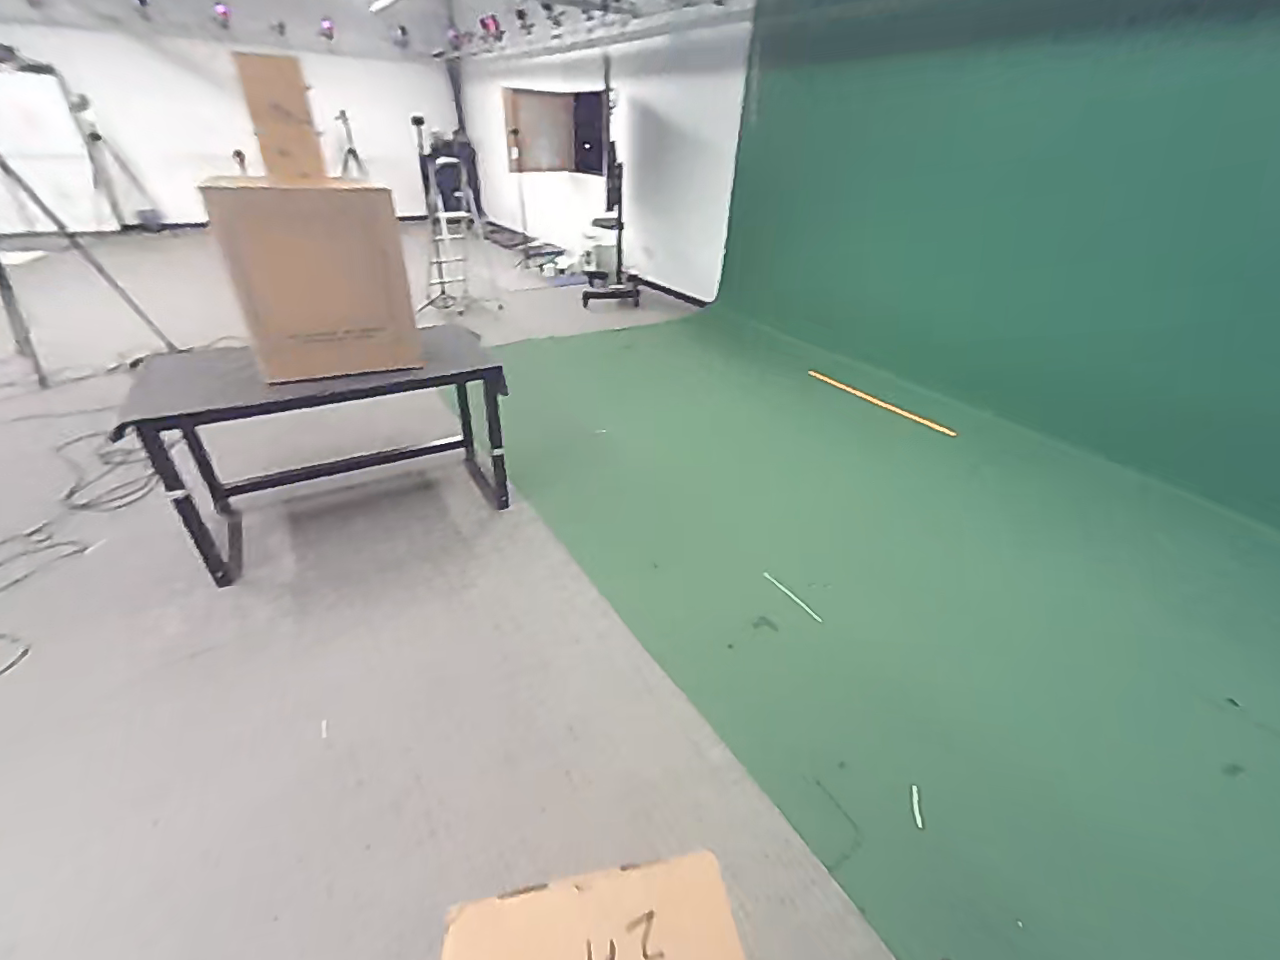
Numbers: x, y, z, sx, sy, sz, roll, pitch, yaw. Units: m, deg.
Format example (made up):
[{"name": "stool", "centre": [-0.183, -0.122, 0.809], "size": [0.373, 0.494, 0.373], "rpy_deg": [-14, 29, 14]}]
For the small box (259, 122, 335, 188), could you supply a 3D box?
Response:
[{"name": "small box", "centre": [-1.085, -1.034, 1.724], "size": [0.168, 0.176, 0.179], "rpy_deg": [-11, 37, -22]}]
